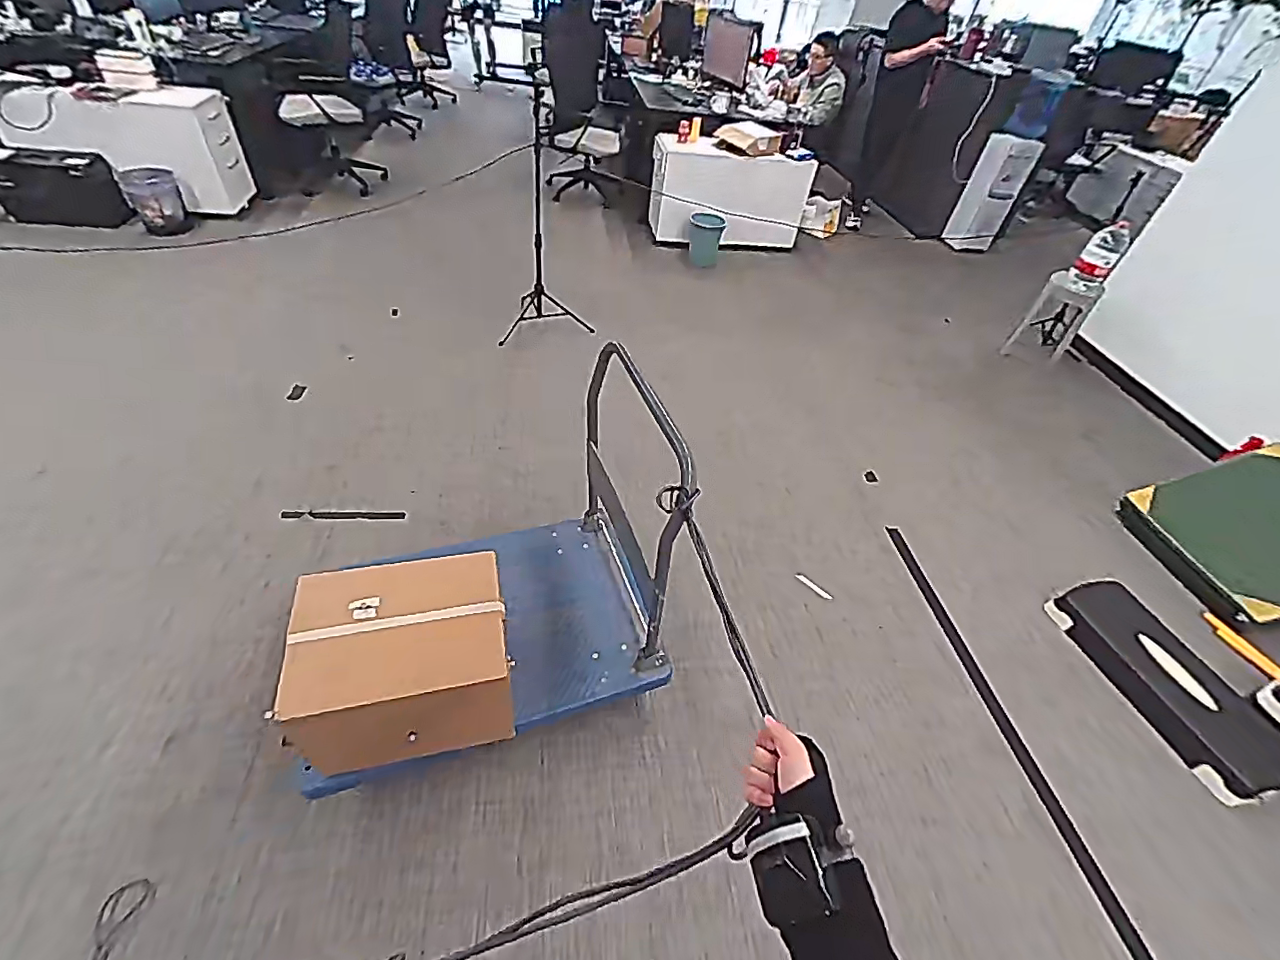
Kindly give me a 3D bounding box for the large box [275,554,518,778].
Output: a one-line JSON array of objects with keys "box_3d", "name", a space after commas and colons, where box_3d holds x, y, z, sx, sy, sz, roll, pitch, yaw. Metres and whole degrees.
[{"box_3d": [-0.496, 0.402, 1.188, 0.408, 0.320, 0.320, -6, 46, -15], "name": "large box"}]
